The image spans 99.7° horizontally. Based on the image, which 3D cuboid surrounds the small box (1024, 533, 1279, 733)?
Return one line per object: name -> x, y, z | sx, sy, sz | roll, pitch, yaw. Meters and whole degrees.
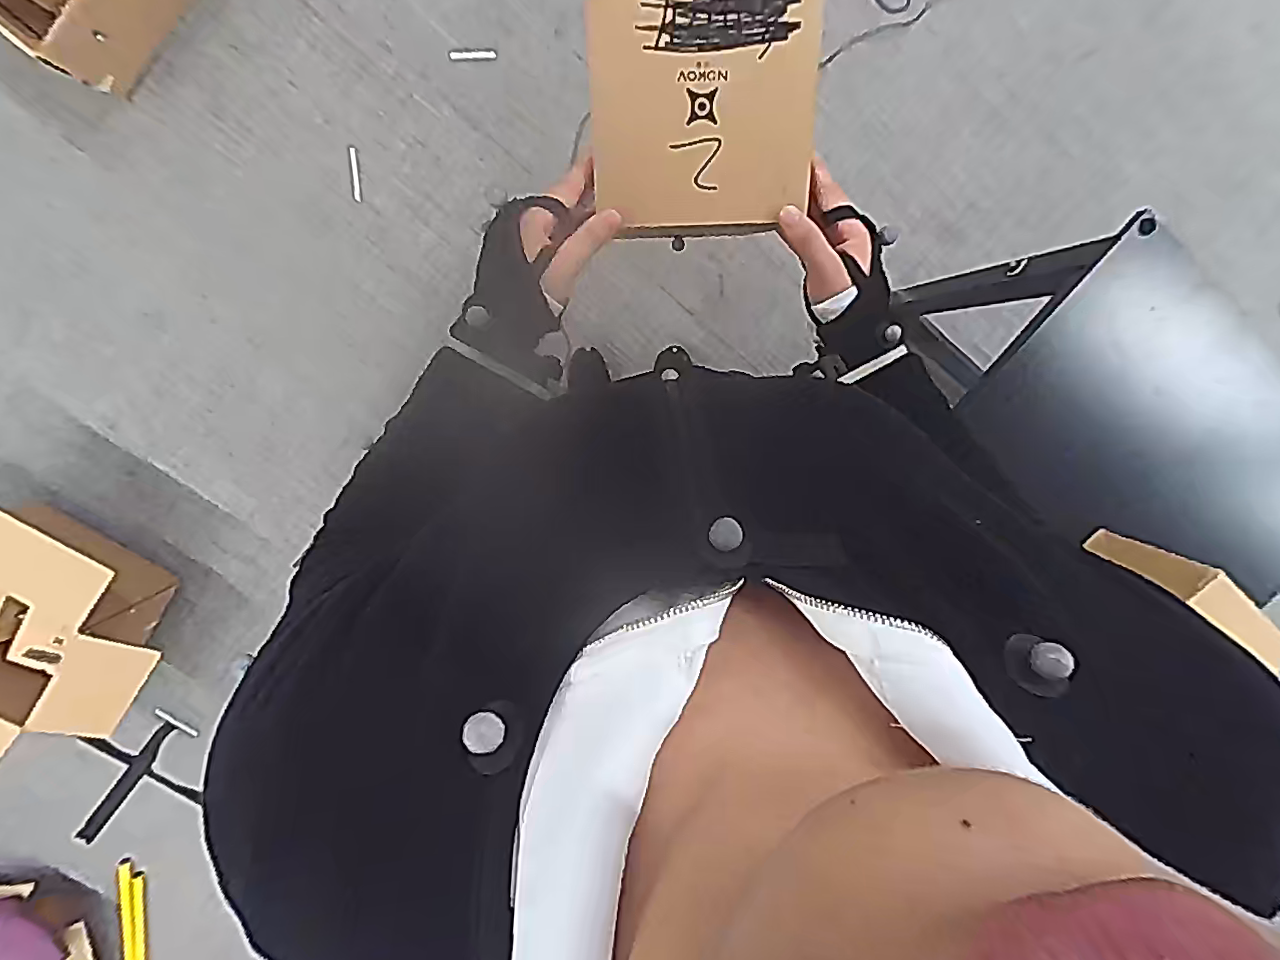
small box -> 0.700, 0.199, 0.752 | 0.179, 0.176, 0.168 | 39, 98, -9
